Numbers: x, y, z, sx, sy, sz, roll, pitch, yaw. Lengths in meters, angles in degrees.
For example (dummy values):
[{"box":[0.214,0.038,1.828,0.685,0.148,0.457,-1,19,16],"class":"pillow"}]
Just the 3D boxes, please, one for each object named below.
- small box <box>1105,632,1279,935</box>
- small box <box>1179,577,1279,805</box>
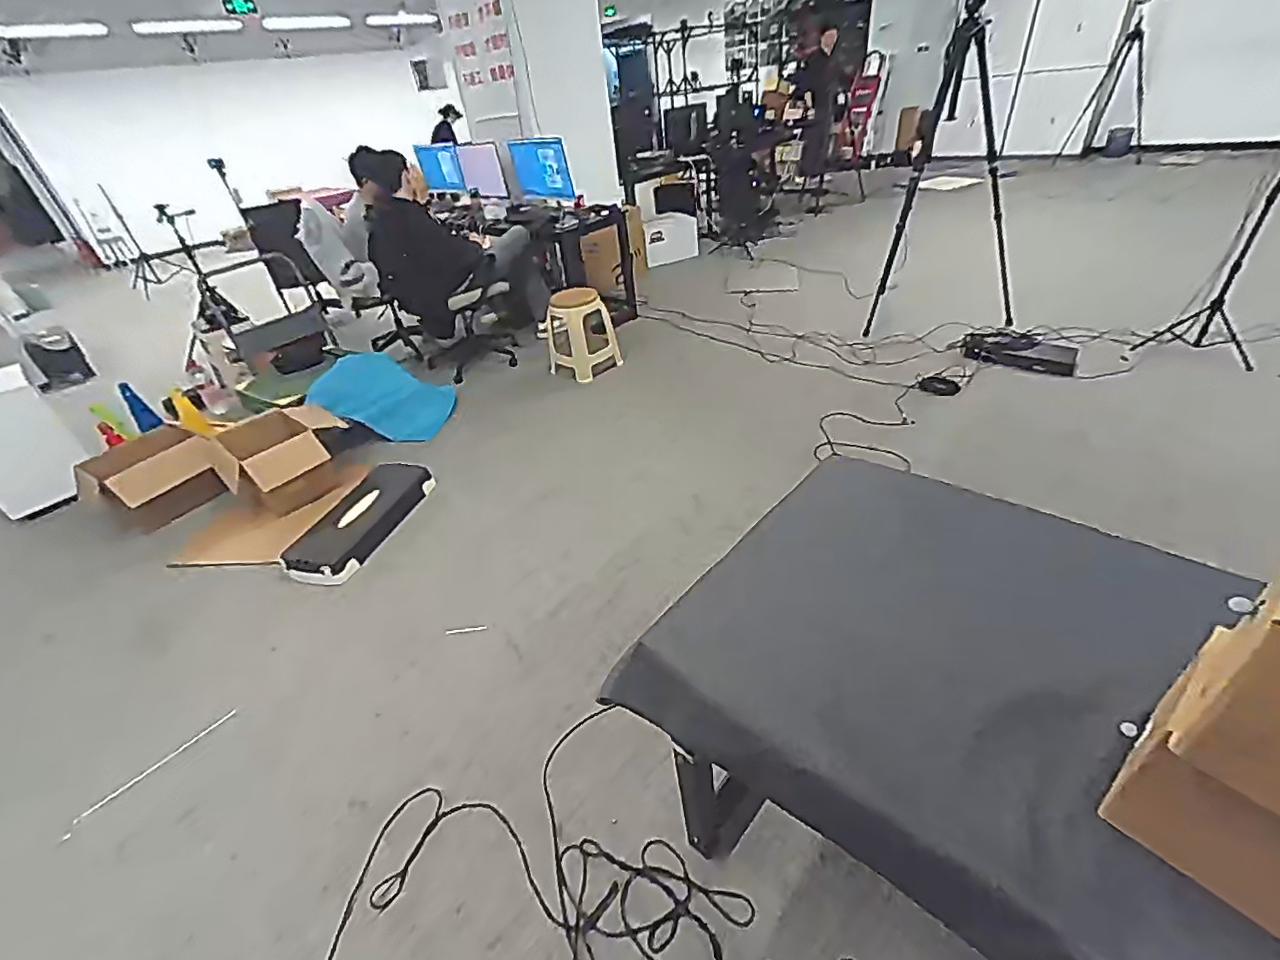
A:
[{"box":[0.586,0.285,0.496,0.168,0.176,0.179,-29,39,-28],"class":"small box"},{"box":[0.555,0.163,0.390,0.168,0.176,0.179,-28,40,-27],"class":"small box"}]
